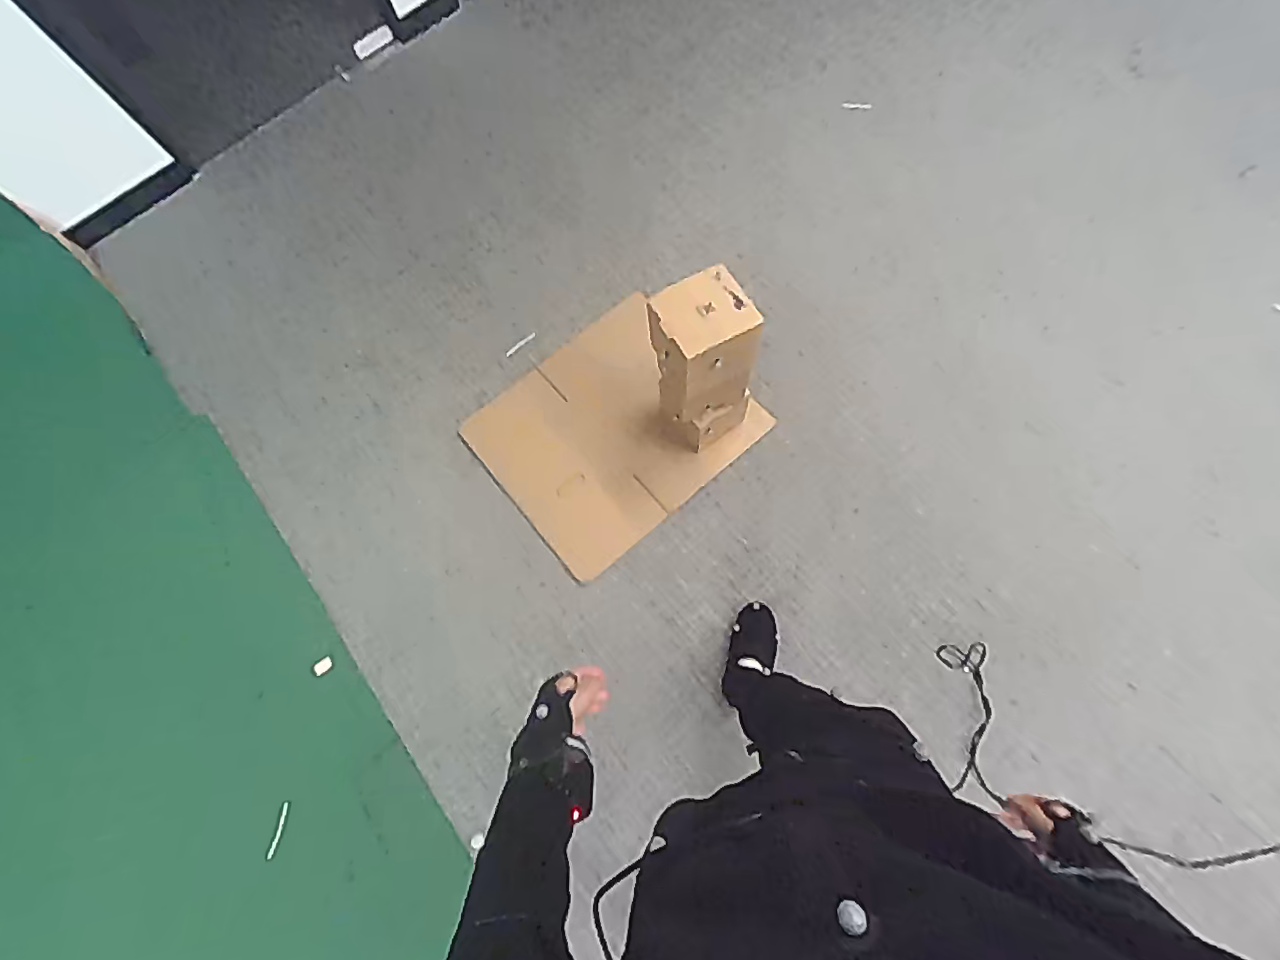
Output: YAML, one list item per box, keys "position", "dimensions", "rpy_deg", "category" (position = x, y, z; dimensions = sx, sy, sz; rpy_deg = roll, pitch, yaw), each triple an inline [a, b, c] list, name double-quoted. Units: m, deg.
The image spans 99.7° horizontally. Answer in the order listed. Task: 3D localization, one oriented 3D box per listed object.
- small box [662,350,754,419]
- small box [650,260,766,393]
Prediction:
- position: [0.152, -0.274, 1.287]
  dimensions: [0.168, 0.176, 0.179]
  rpy_deg: [-20, 71, -2]
  category: "small box"
- position: [0.139, -0.310, 1.128]
  dimensions: [0.179, 0.176, 0.168]
  rpy_deg: [-28, 71, -4]
  category: "small box"
